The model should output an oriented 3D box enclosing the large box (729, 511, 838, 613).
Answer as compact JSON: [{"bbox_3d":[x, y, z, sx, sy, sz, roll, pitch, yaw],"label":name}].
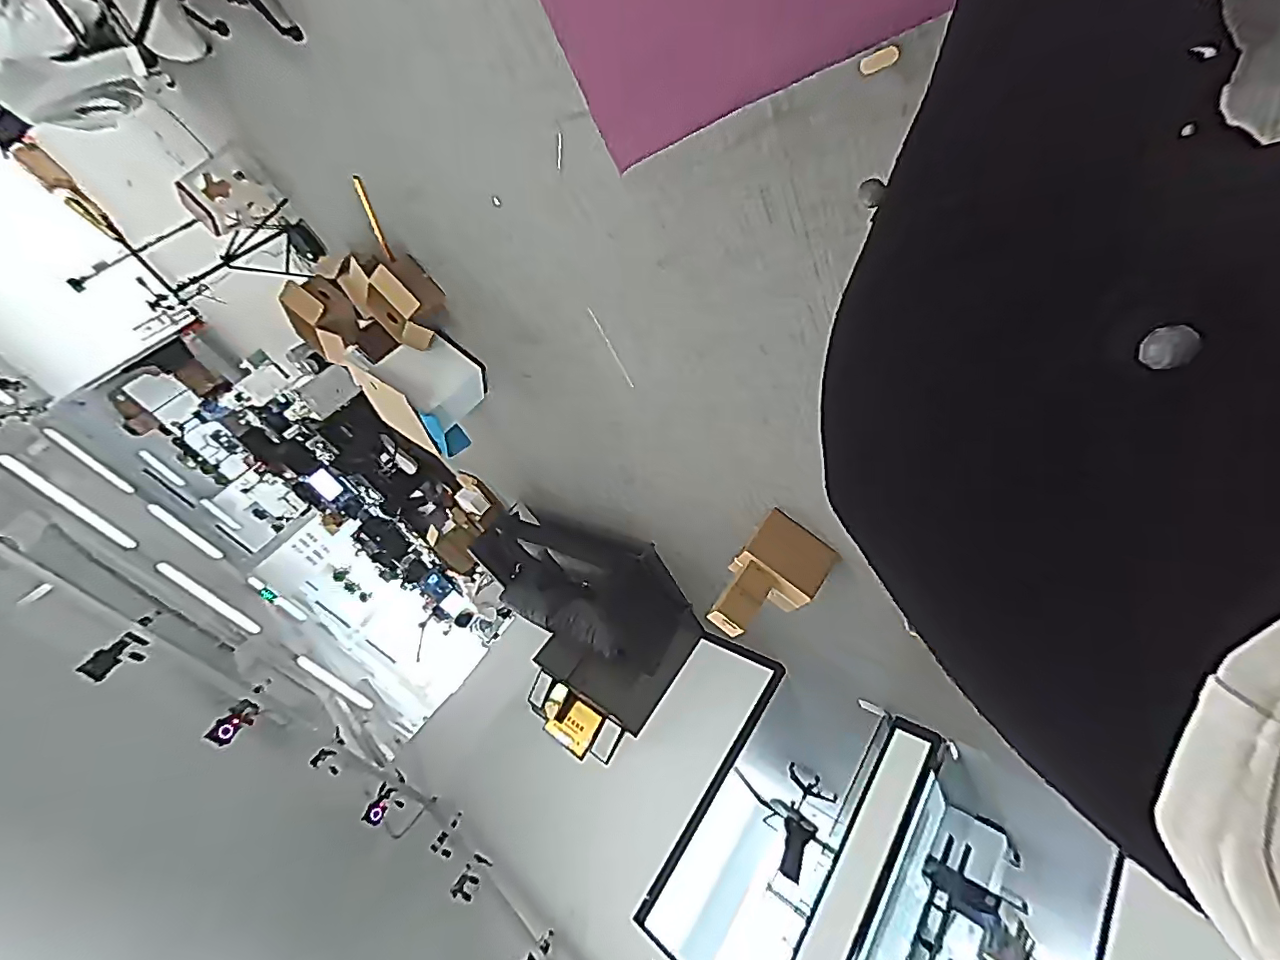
[{"bbox_3d":[0.751,0.433,2.862,0.408,0.320,0.320,36,155,8],"label":"large box"}]

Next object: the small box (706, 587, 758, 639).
[{"bbox_3d":[0.456,0.653,2.664,0.168,0.176,0.179,38,155,7],"label":"small box"}]
